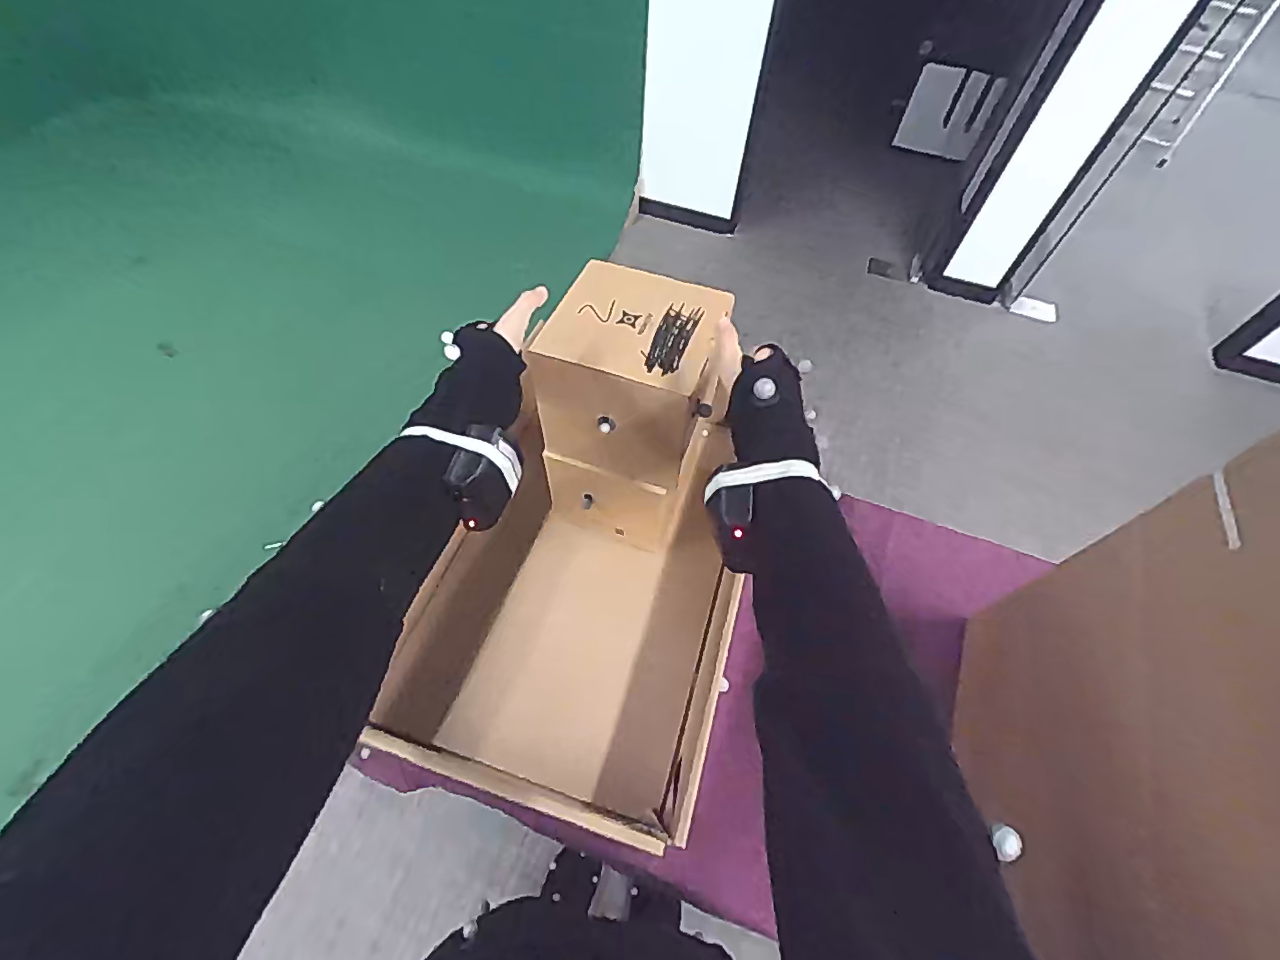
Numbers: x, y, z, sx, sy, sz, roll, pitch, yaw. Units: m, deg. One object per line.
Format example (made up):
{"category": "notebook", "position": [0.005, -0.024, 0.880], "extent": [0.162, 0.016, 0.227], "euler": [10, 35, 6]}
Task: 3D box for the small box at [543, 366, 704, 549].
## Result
{"category": "small box", "position": [-0.018, -0.027, 0.773], "extent": [0.168, 0.176, 0.179], "euler": [18, 58, 10]}
